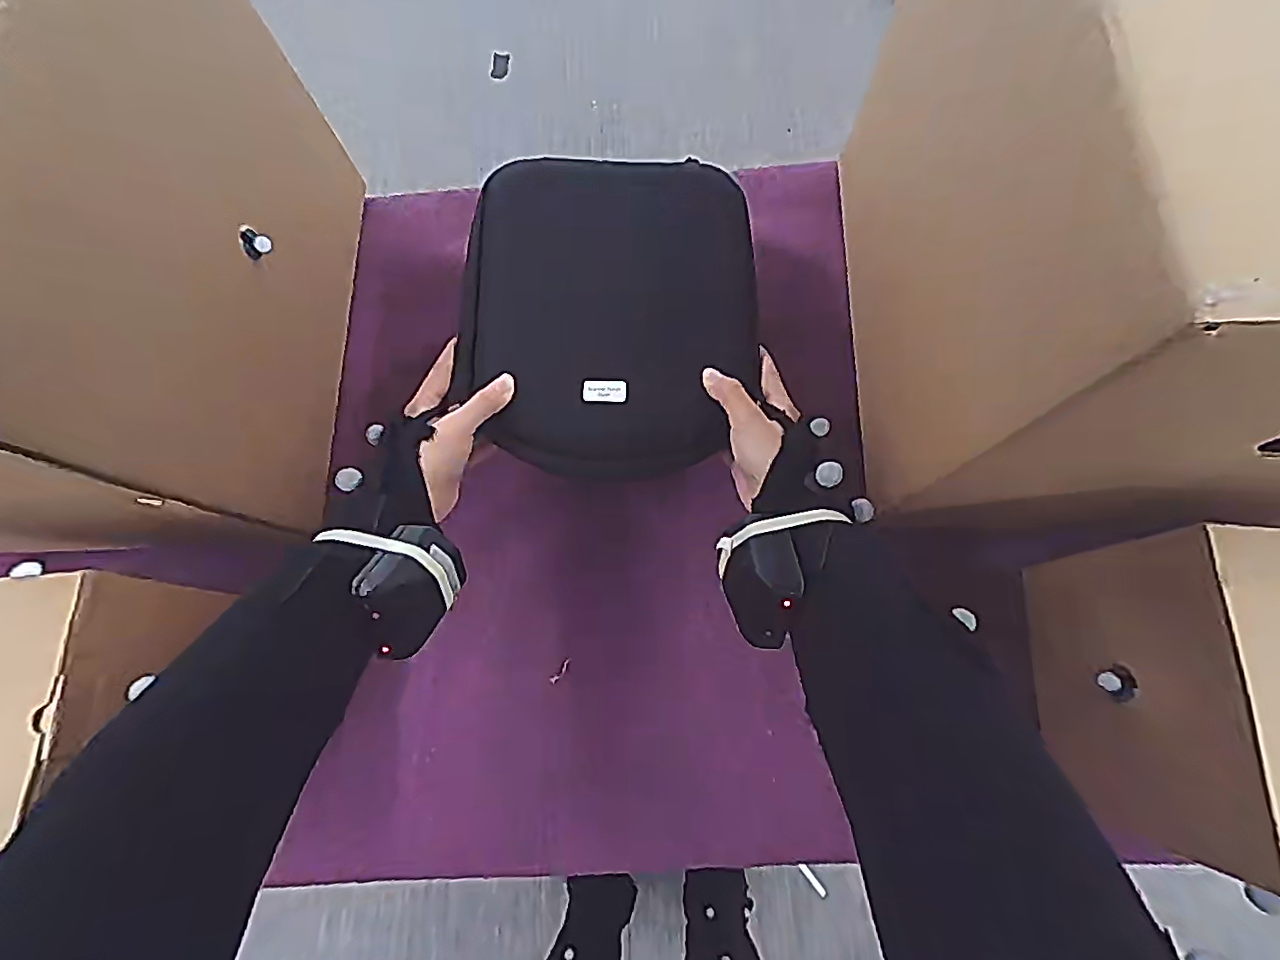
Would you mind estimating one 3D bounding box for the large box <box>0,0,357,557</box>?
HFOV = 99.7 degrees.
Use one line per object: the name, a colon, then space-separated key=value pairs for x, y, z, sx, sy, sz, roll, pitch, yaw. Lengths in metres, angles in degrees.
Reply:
large box: x=-0.456 y=-0.164 z=0.419 sx=0.320 sy=0.320 sz=0.408 roll=-4 pitch=75 yaw=1
